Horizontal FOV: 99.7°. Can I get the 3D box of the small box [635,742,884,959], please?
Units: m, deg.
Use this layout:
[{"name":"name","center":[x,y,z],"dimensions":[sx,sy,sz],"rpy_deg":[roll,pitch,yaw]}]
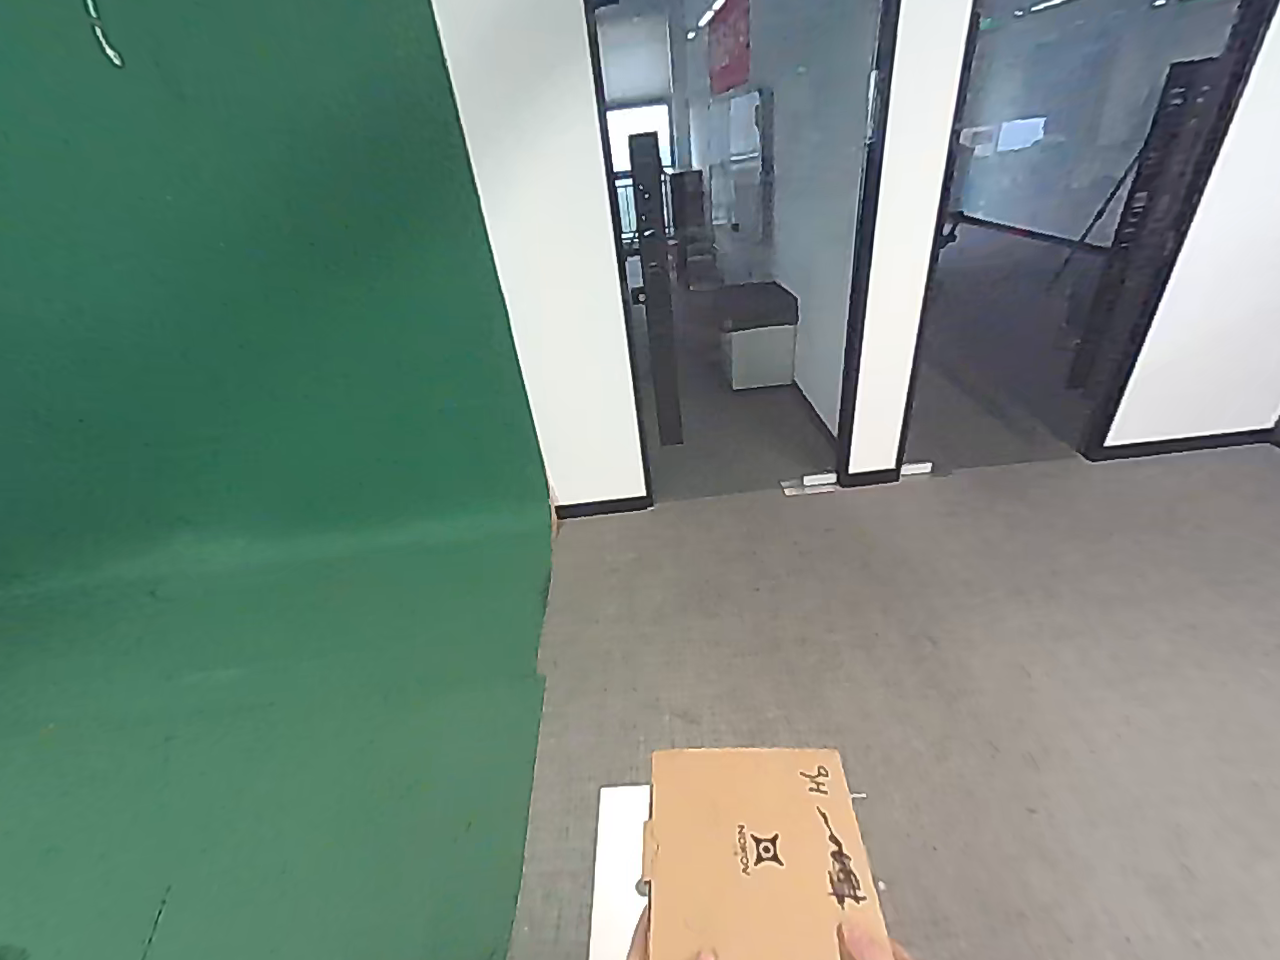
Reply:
[{"name":"small box","center":[0.093,0.359,0.485],"dimensions":[0.179,0.176,0.168],"rpy_deg":[-2,35,4]}]
